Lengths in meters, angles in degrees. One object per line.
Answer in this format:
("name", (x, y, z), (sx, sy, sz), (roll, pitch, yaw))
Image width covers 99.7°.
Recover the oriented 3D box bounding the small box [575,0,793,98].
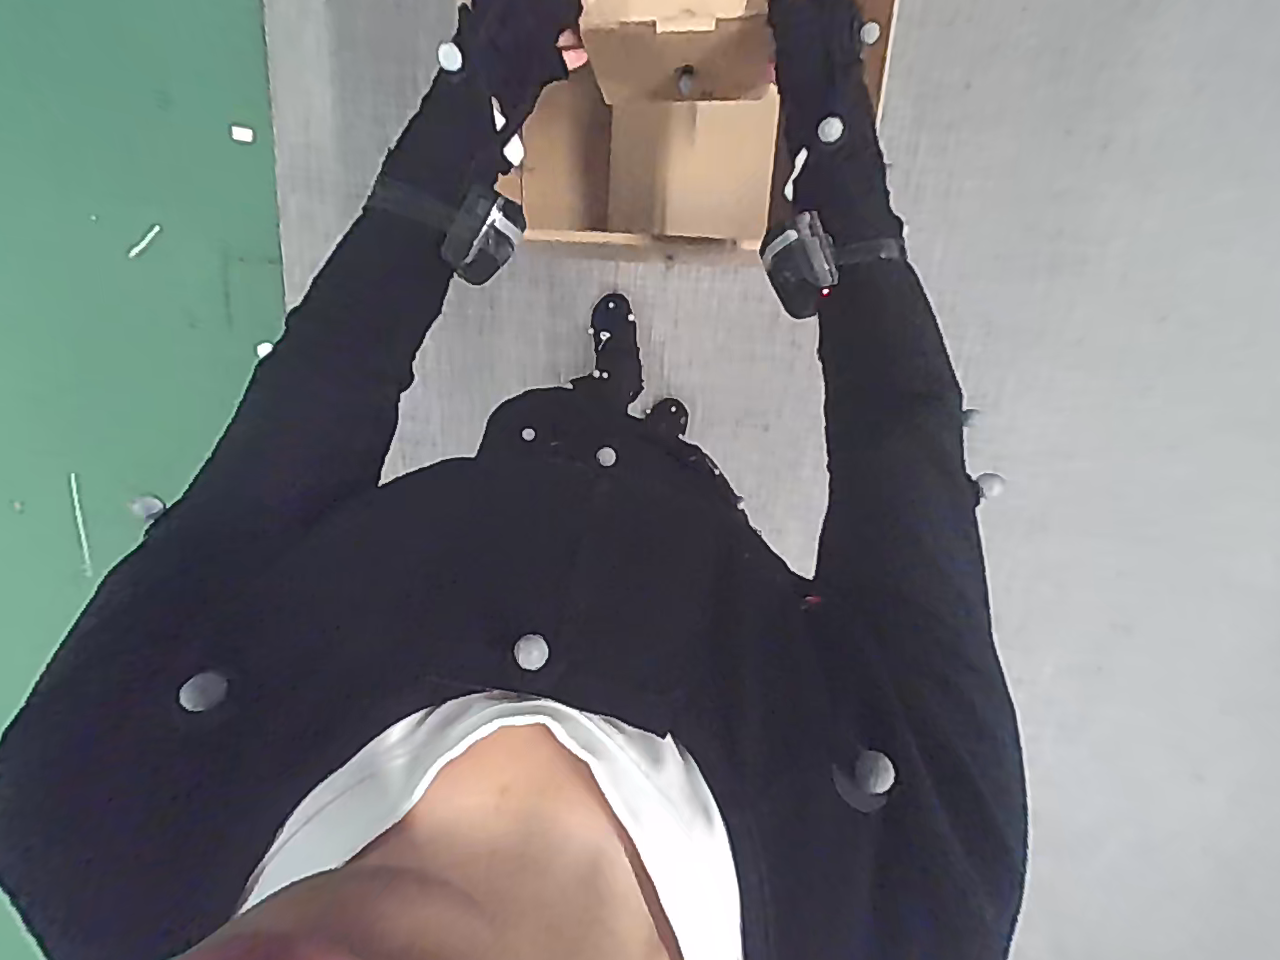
("small box", (0.041, -0.444, 0.454), (0.168, 0.176, 0.179), (2, 108, 5))
